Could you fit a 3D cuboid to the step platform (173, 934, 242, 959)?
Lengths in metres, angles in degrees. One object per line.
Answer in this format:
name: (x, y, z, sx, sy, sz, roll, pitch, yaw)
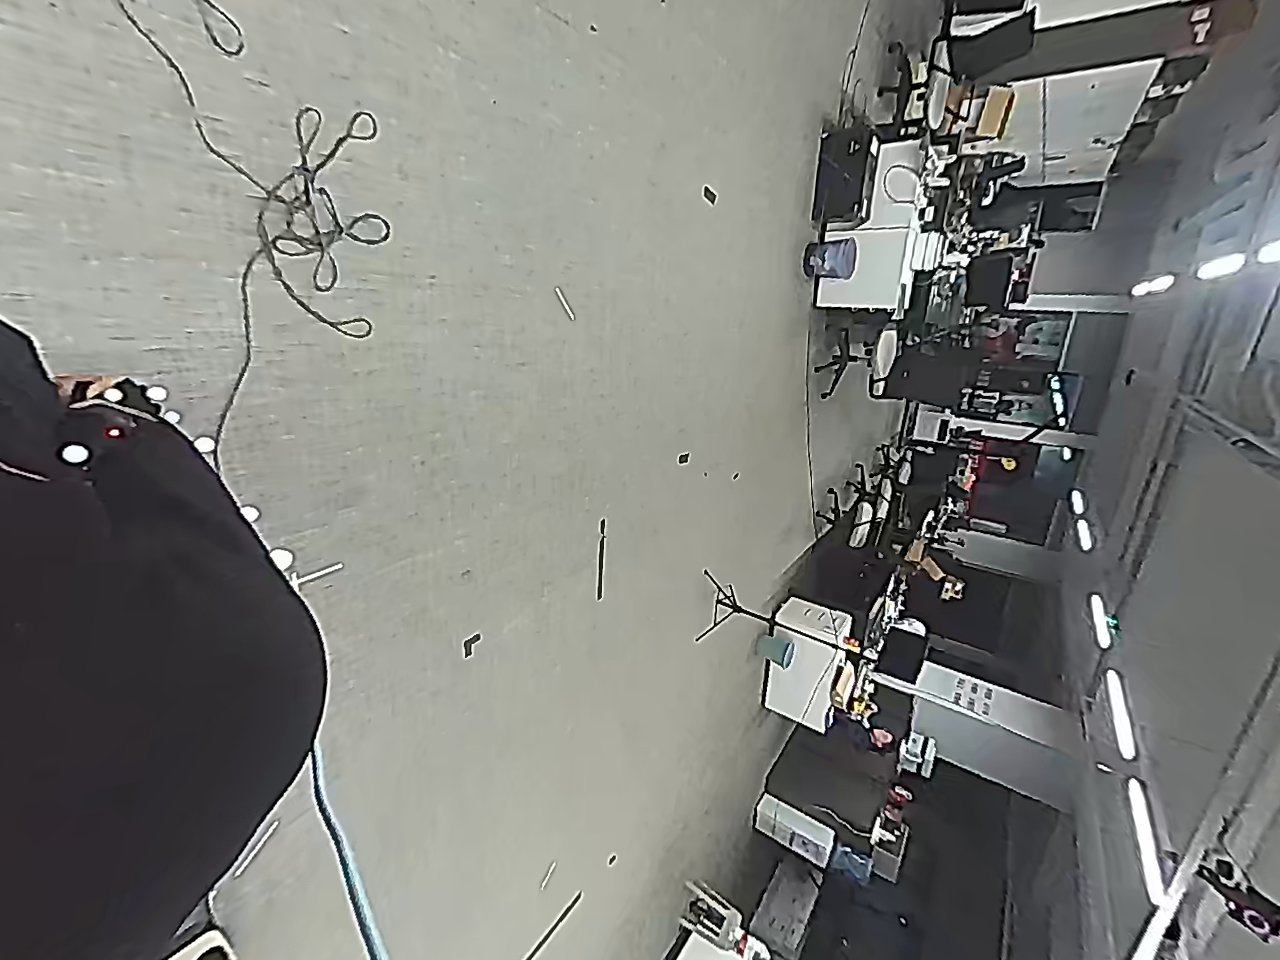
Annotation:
step platform: (-1.178, 1.322, 1.083, 0.684, 0.204, 0.286, -13, 111, -52)
